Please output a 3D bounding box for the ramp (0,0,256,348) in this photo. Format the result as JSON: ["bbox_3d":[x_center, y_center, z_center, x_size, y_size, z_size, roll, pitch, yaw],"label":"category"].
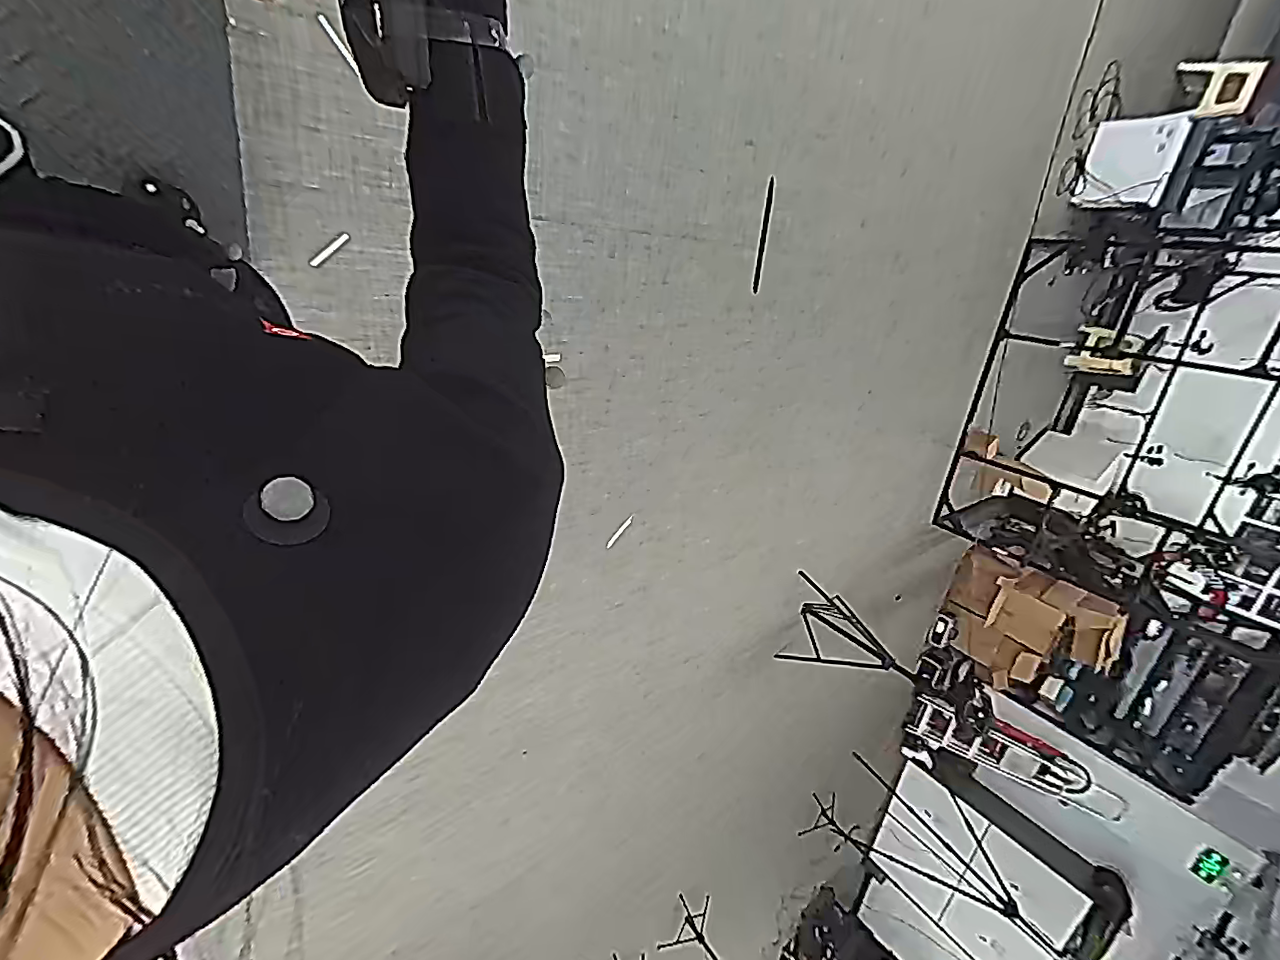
[{"bbox_3d":[-0.935,-0.688,0.838,0.509,0.206,0.991,-11,119,-37],"label":"ramp"}]
